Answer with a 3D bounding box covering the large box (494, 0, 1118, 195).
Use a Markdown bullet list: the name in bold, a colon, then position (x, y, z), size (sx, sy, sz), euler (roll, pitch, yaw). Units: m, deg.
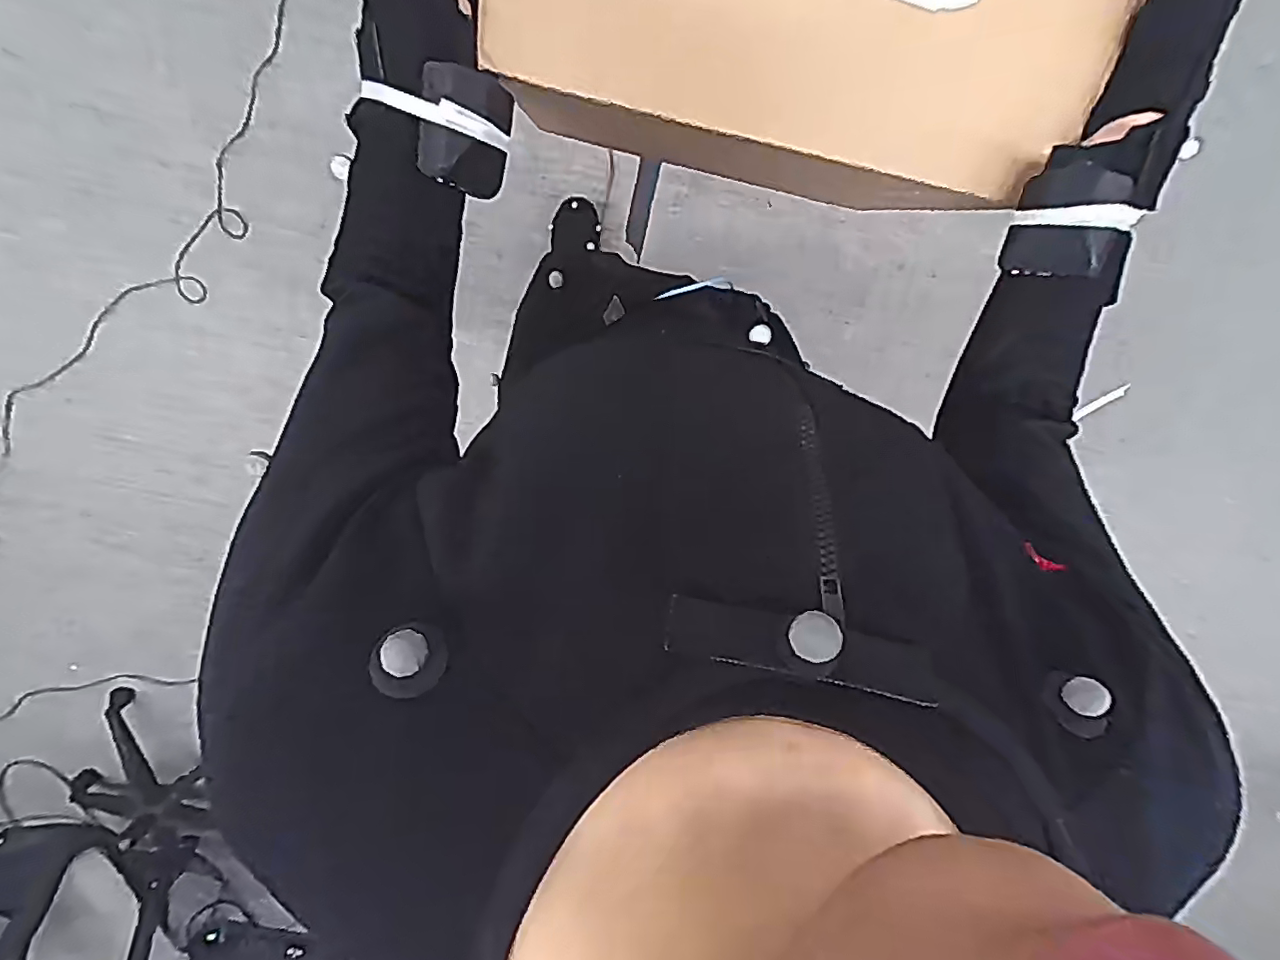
- **large box**: position (0.114, -0.443, 0.441), size (0.408, 0.320, 0.320), euler (8, 117, -8)
